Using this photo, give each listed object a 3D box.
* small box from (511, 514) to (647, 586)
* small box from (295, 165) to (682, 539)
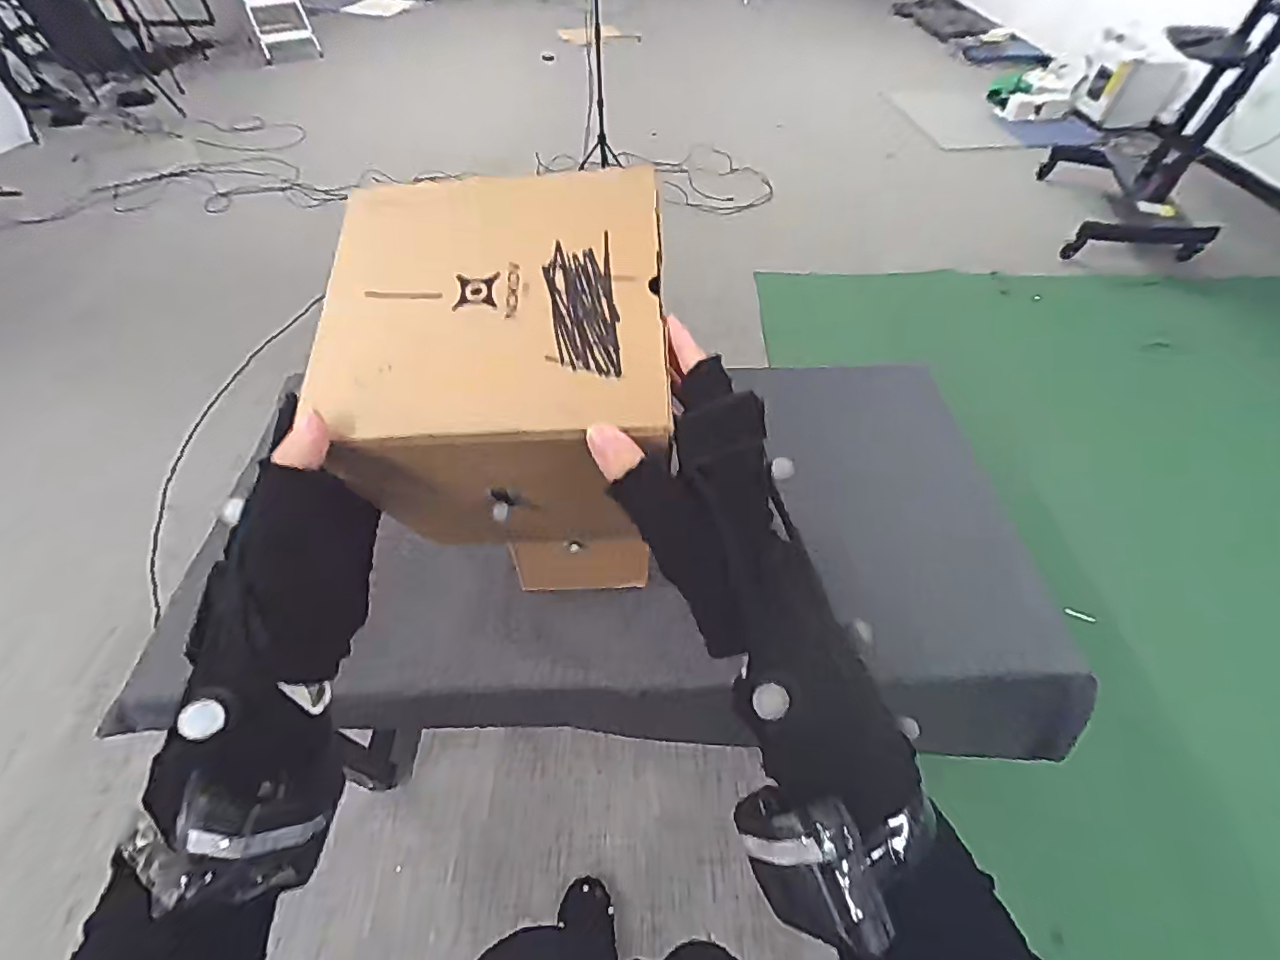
[{"bbox_3d":[-0.082,0.037,0.744,0.179,0.176,0.168,-1,52,-3],"label":"small box"},{"bbox_3d":[-0.073,-0.066,0.346,0.179,0.176,0.168,-4,68,-1],"label":"small box"}]
